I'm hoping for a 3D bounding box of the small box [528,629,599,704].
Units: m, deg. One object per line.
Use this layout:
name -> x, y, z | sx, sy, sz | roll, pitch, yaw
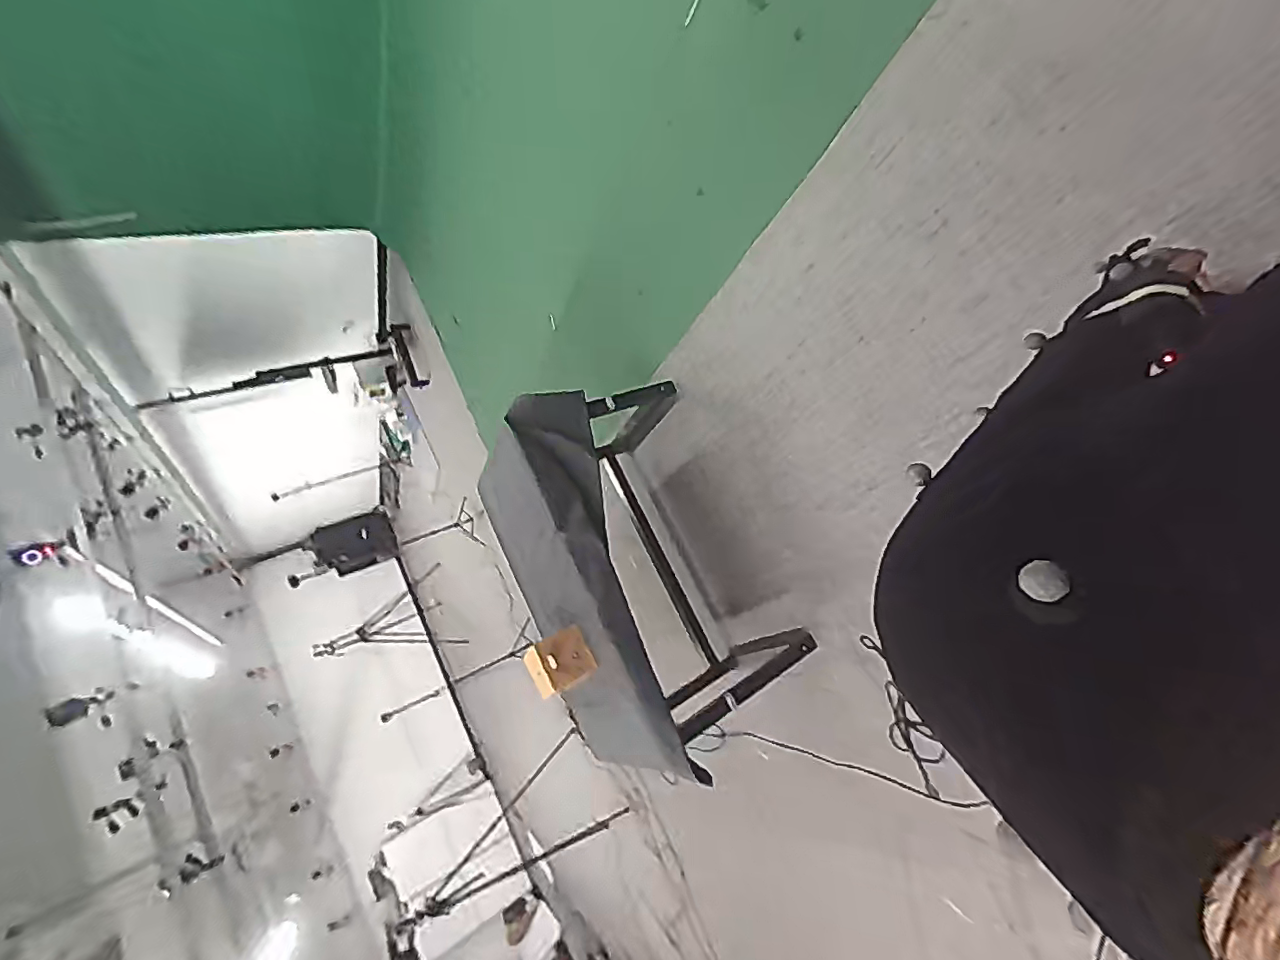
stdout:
small box -> -0.261, 0.633, 1.843 | 0.168, 0.176, 0.179 | 58, 146, 19
